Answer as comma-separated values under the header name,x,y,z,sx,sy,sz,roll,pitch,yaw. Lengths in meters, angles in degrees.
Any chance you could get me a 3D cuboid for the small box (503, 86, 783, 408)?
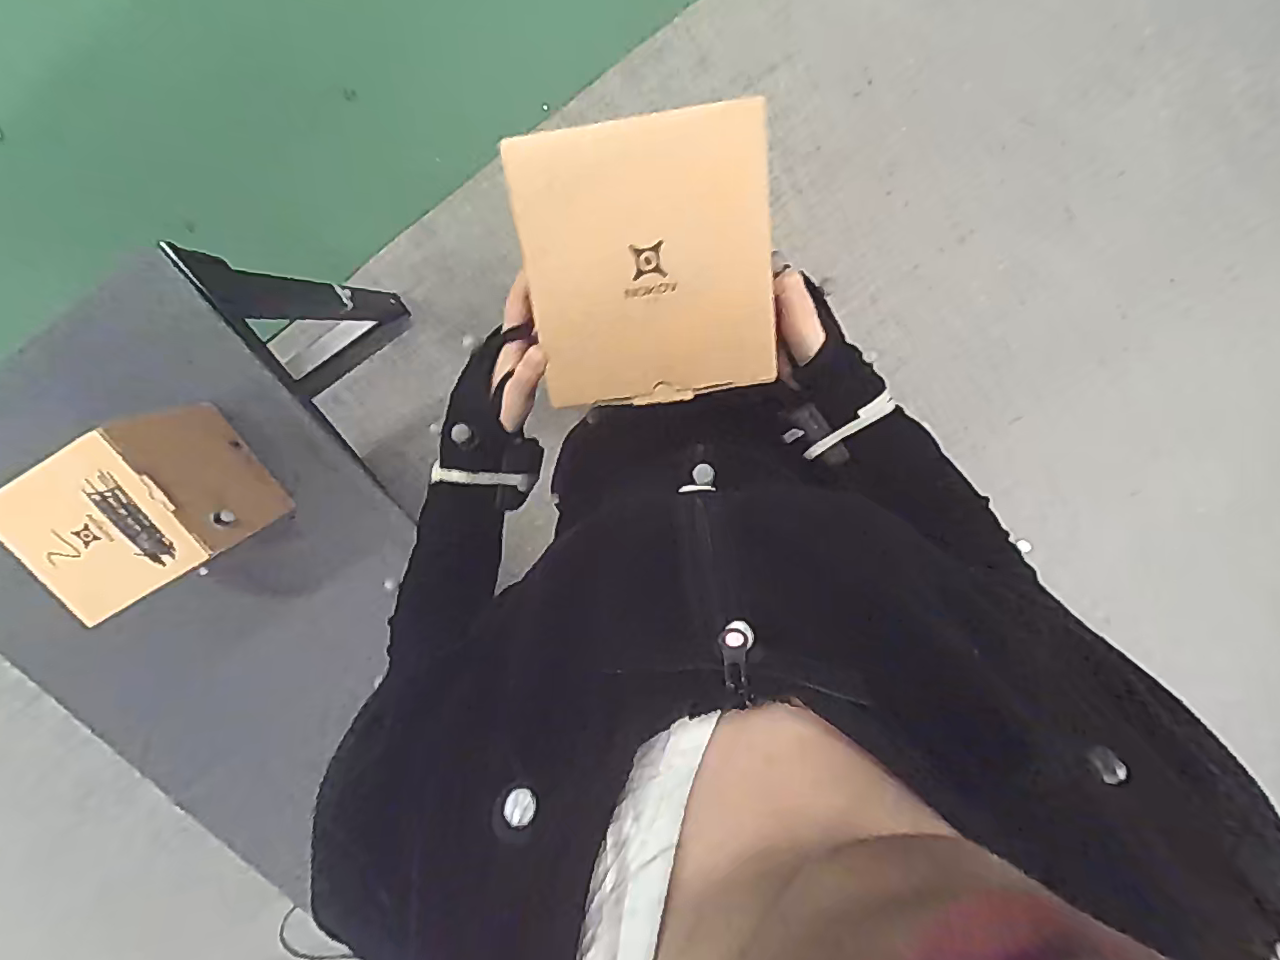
name,x,y,z,sx,sy,sz,roll,pitch,yaw
small box,0.007,-0.170,0.425,0.168,0.176,0.179,-8,112,3
